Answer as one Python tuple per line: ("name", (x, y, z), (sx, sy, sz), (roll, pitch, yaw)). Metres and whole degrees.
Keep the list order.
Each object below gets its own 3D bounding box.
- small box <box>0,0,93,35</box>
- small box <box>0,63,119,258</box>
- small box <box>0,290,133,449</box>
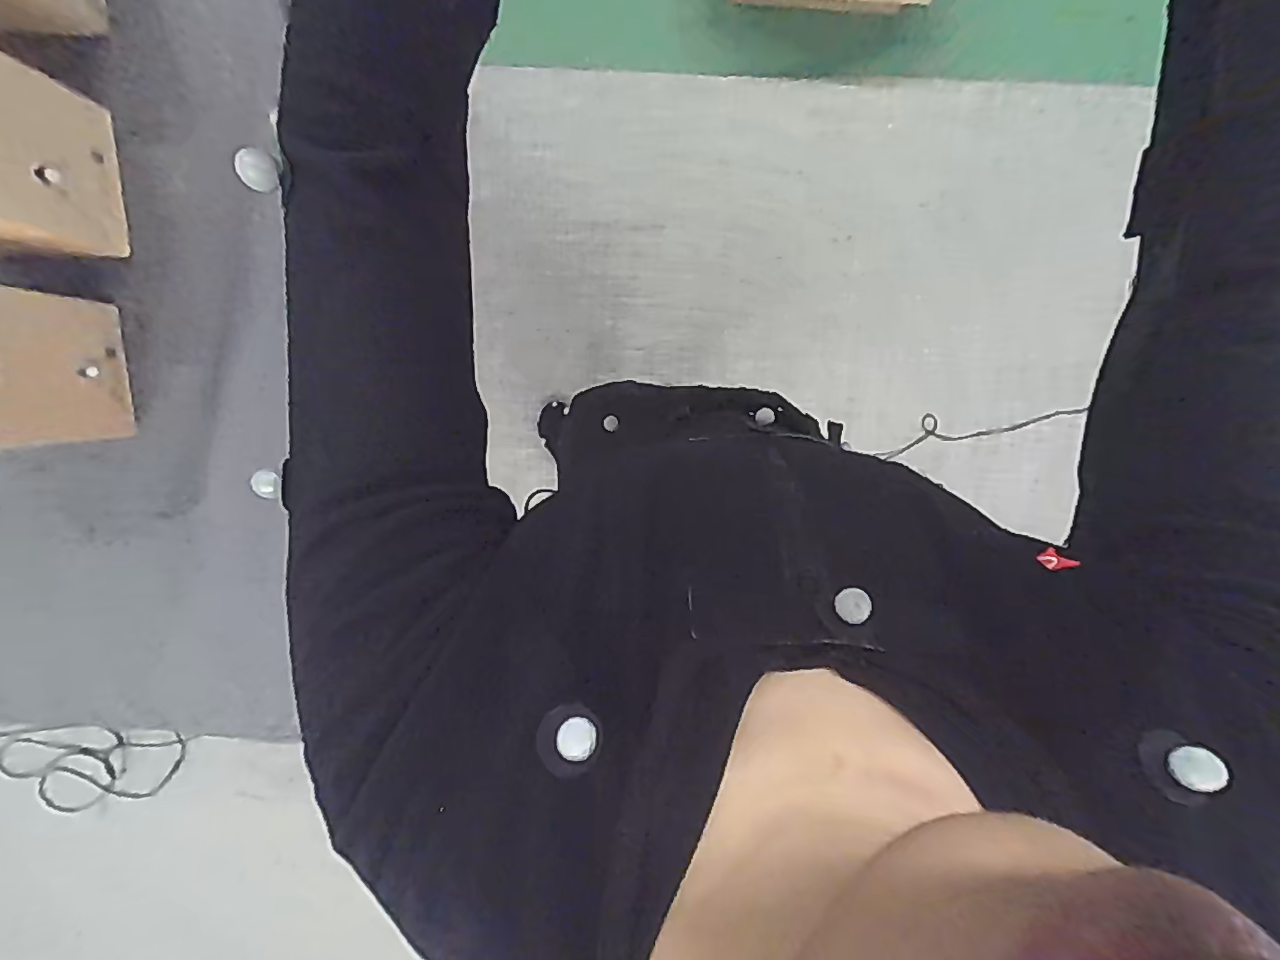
("small box", (-0.695, -0.576, 0.527), (0.179, 0.176, 0.168), (0, 100, 0))
("small box", (-0.707, -0.340, 0.570), (0.179, 0.176, 0.168), (1, 100, 0))
("small box", (-0.738, -0.120, 0.605), (0.179, 0.176, 0.168), (0, 100, -1))
